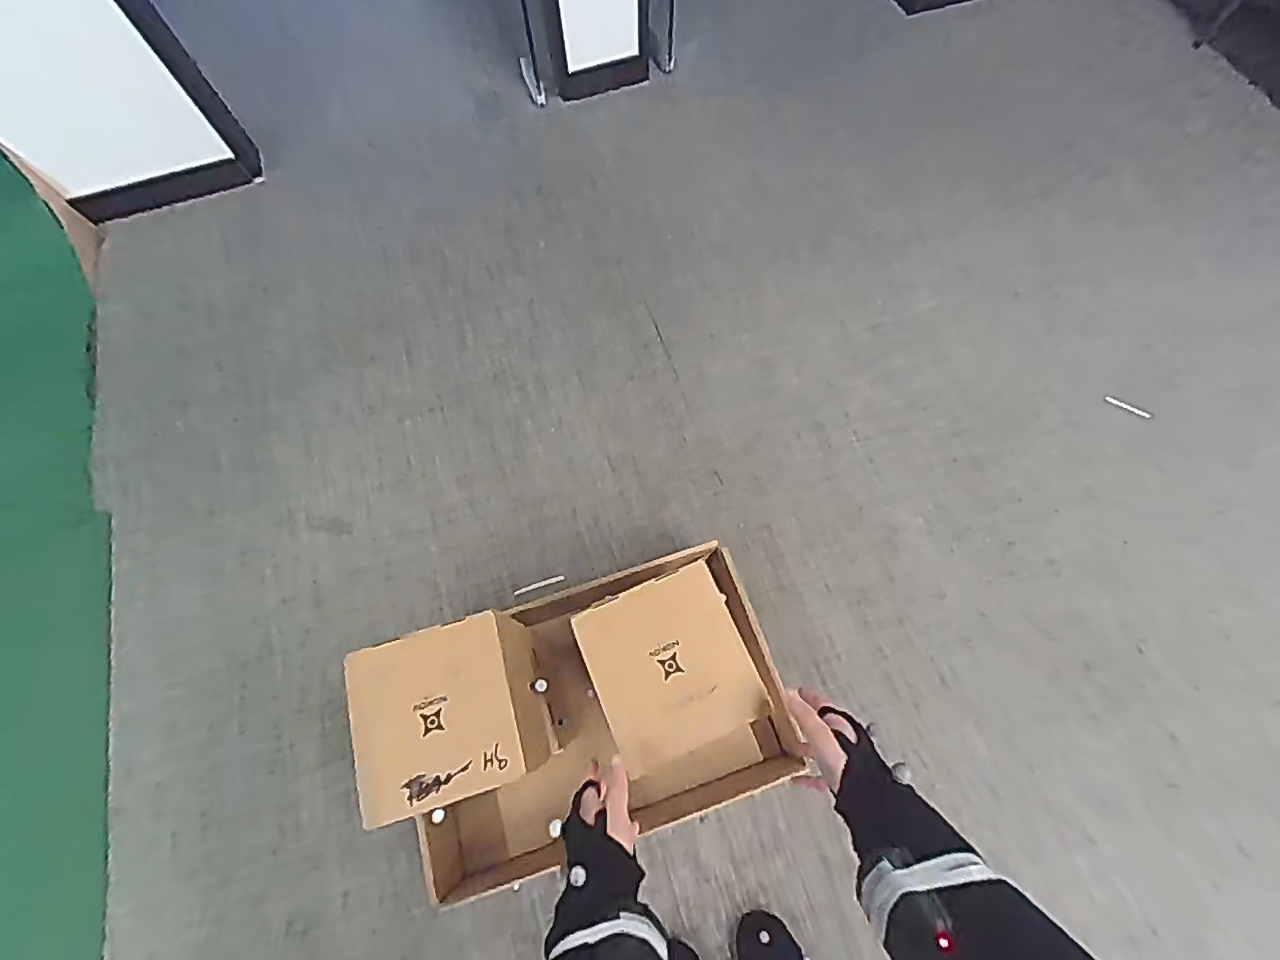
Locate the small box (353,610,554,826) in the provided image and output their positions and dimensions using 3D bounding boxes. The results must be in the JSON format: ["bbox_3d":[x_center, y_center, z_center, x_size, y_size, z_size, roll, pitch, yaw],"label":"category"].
[{"bbox_3d":[-0.210,0.271,0.638,0.168,0.176,0.179,-16,69,-4],"label":"small box"}]

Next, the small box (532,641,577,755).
[{"bbox_3d":[-0.214,0.392,0.944,0.168,0.176,0.179,-14,70,-5],"label":"small box"}]

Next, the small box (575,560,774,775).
[{"bbox_3d":[0.035,0.220,0.651,0.168,0.176,0.179,-22,72,-5],"label":"small box"}]
